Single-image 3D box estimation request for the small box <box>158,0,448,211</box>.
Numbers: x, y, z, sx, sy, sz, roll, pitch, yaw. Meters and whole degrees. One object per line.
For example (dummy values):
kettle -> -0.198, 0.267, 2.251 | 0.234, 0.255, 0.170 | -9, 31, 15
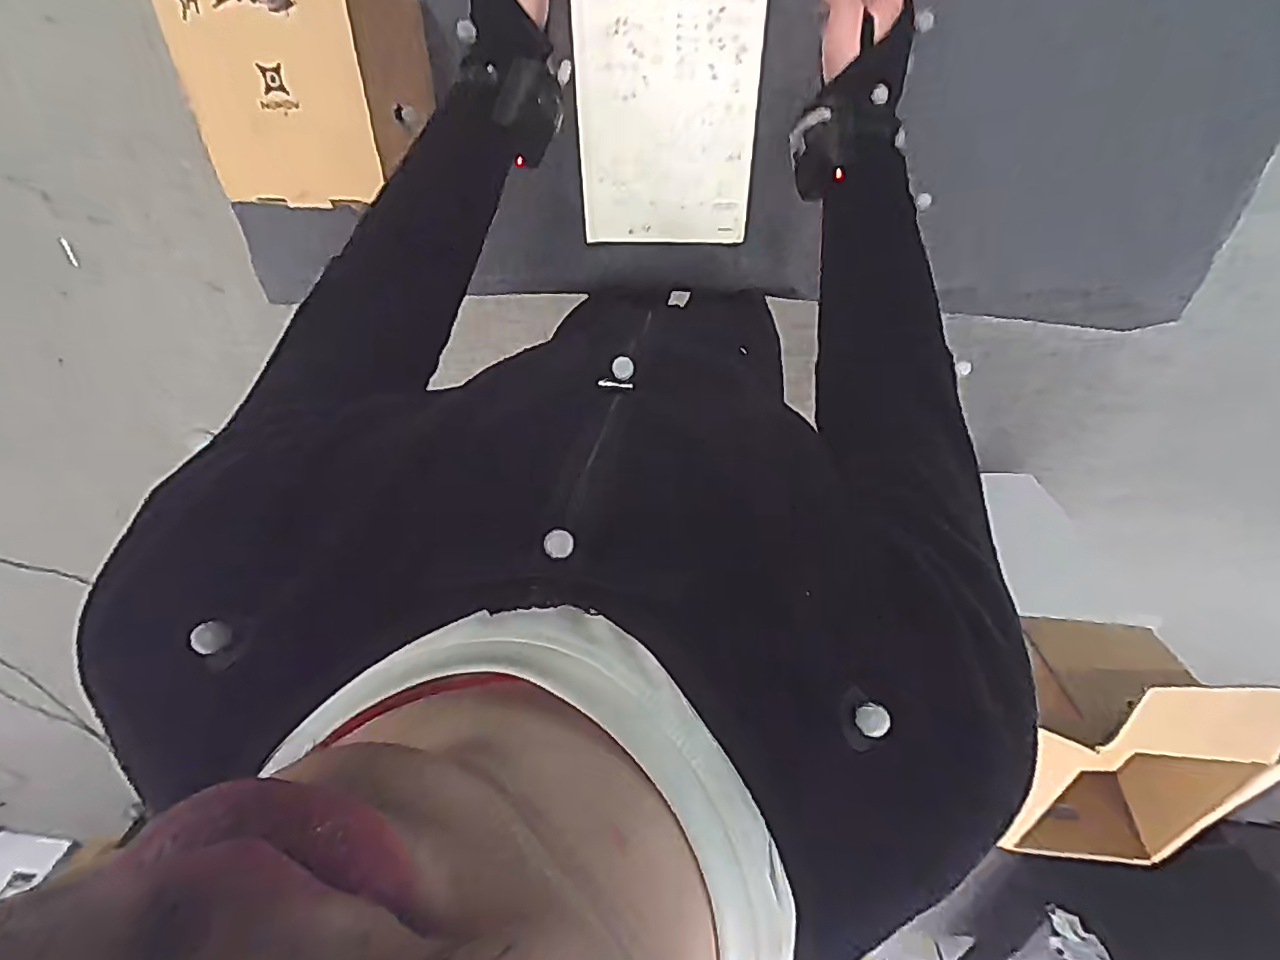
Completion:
small box -> -0.312, -0.383, 0.546 | 0.168, 0.176, 0.179 | 3, 124, 2
